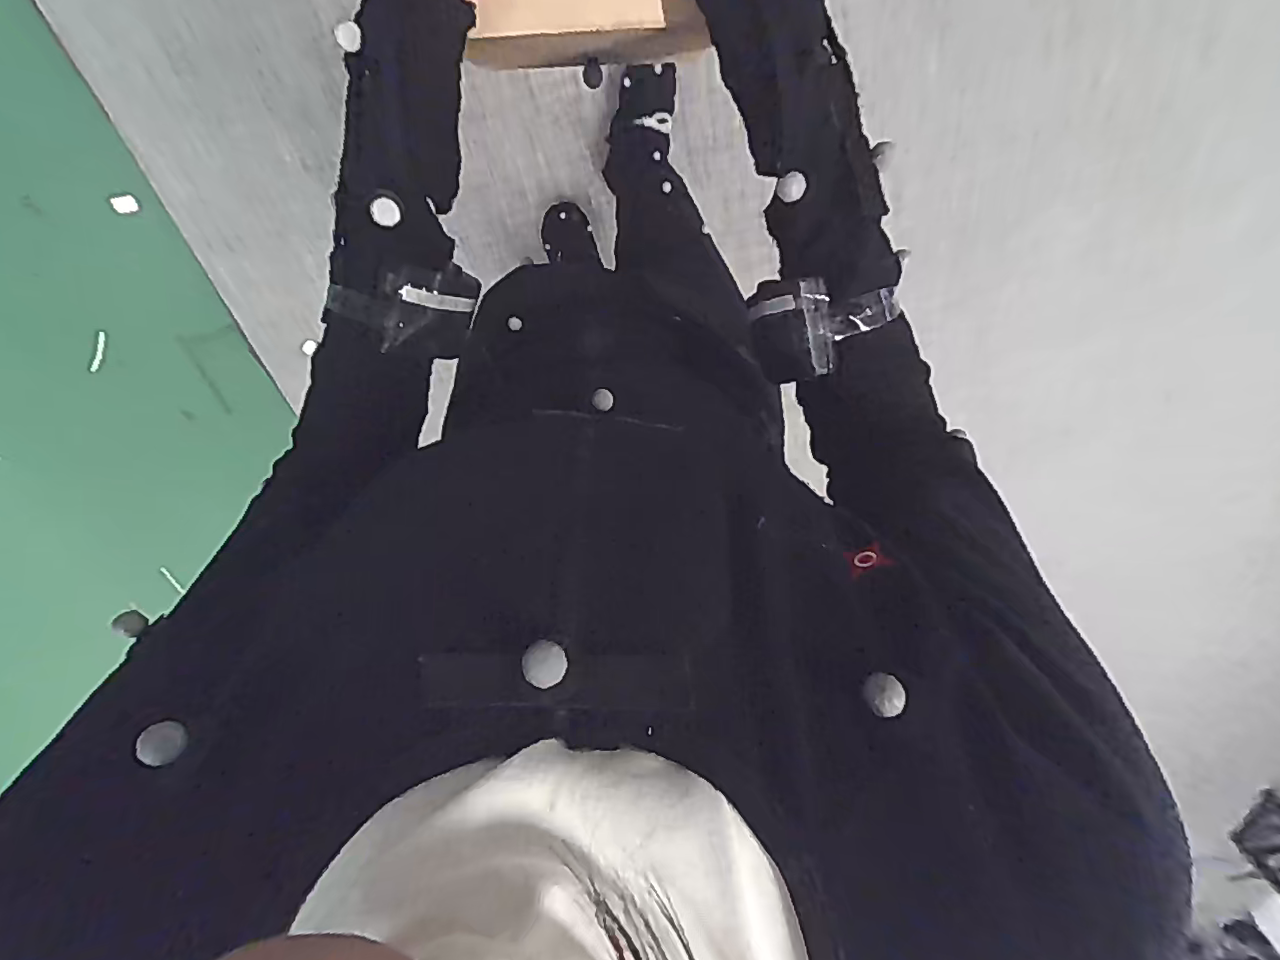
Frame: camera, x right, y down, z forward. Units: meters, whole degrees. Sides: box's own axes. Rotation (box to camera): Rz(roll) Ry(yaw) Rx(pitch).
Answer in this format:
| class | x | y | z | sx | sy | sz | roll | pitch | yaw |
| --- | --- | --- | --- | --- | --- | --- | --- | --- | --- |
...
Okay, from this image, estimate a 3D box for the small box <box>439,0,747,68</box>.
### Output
| class | x | y | z | sx | sy | sz | roll | pitch | yaw |
| --- | --- | --- | --- | --- | --- | --- | --- | --- | --- |
| small box | -0.035 | -0.370 | 0.335 | 0.179 | 0.176 | 0.168 | -5 | 121 | -2 |
